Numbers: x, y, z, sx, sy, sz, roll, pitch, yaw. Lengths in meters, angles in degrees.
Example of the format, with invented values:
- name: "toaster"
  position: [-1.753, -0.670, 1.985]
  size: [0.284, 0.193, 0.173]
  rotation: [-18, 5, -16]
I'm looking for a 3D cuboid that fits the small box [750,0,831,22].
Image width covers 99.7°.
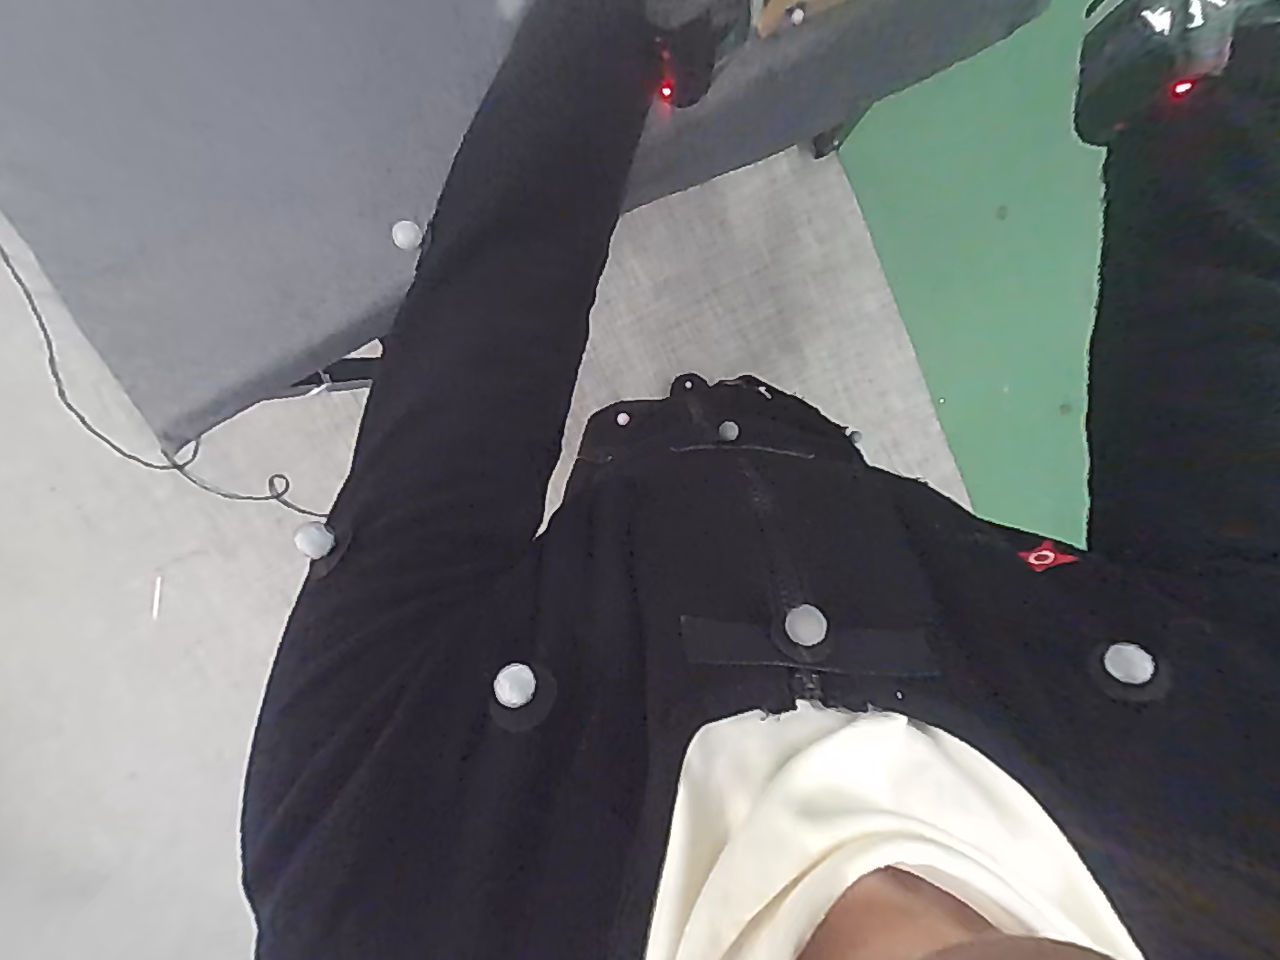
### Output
- name: "small box"
  position: [0.171, -0.563, 0.480]
  size: [0.168, 0.176, 0.179]
  rotation: [-18, 100, 8]
